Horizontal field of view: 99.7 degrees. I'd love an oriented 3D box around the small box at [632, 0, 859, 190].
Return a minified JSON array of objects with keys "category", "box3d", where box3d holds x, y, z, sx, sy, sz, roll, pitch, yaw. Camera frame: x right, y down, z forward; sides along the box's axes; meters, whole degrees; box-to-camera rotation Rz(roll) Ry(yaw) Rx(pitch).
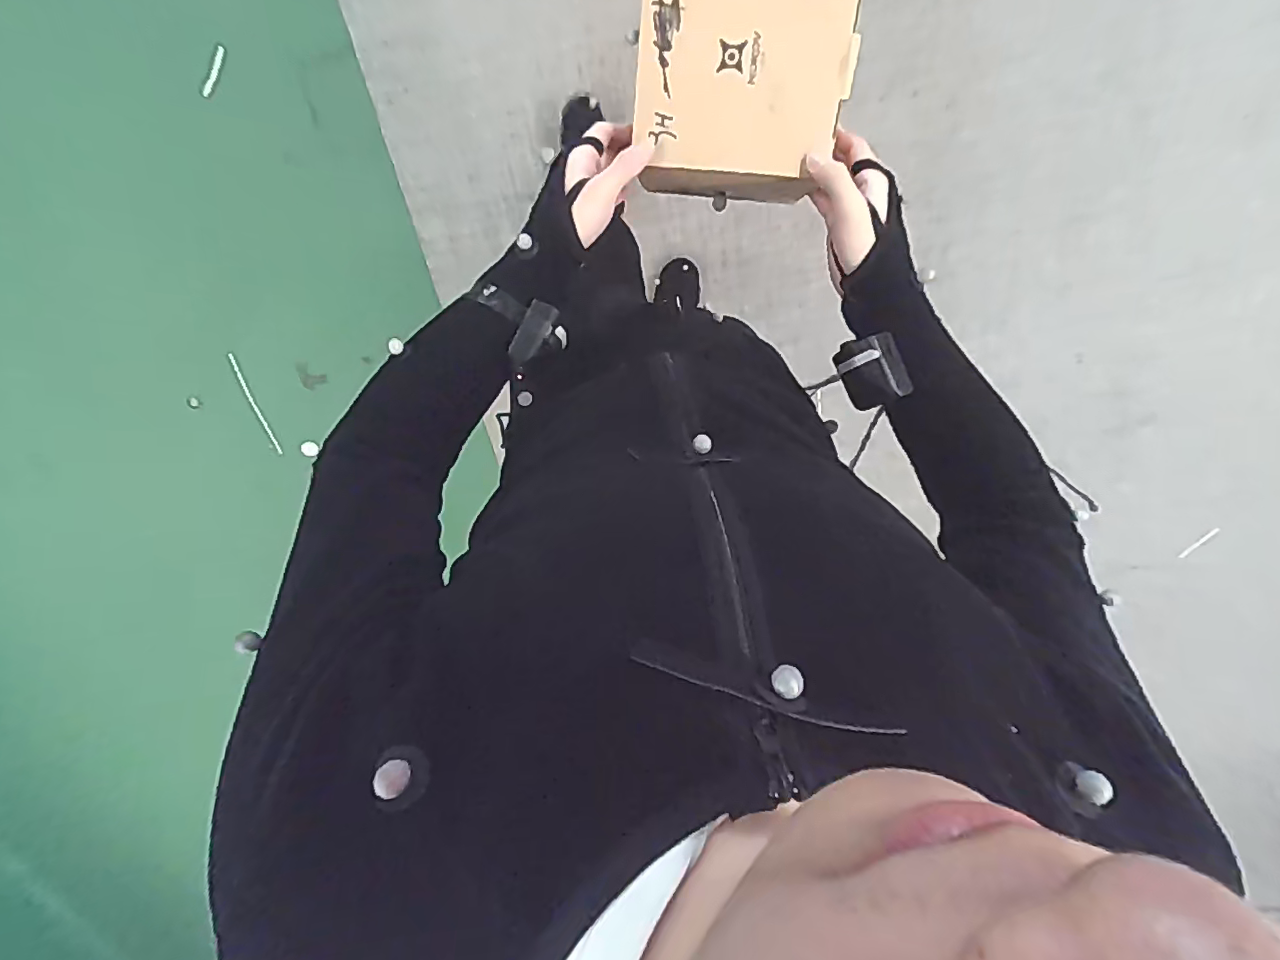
[{"category":"small box","box3d":[0.091,-0.388,0.523,0.179,0.176,0.168,6,111,1]}]
